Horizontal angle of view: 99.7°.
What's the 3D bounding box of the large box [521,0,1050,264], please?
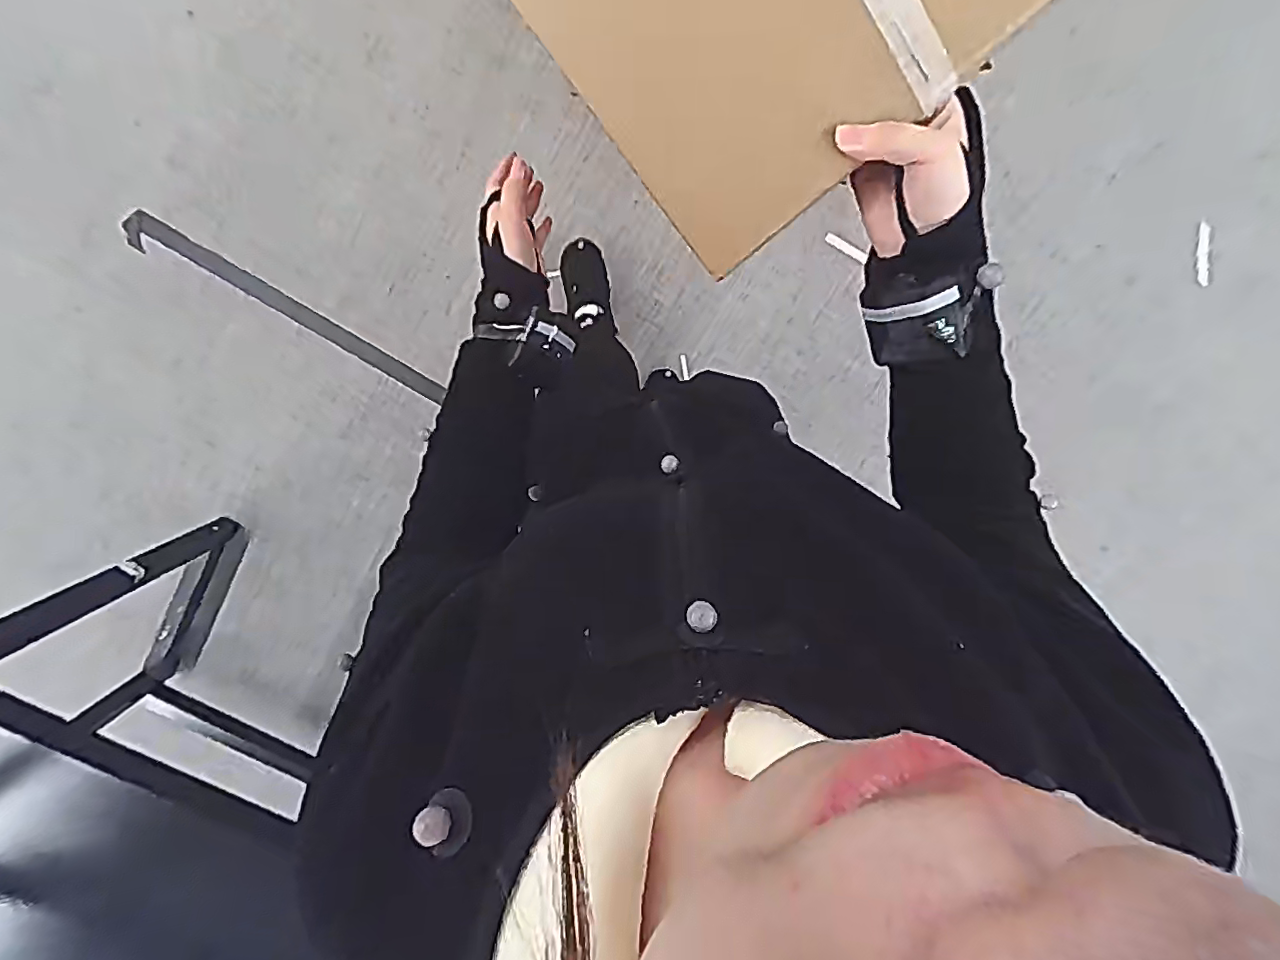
[{"bbox_3d":[0.075,-0.429,0.403,0.320,0.320,0.408,-35,103,22],"label":"large box"}]
